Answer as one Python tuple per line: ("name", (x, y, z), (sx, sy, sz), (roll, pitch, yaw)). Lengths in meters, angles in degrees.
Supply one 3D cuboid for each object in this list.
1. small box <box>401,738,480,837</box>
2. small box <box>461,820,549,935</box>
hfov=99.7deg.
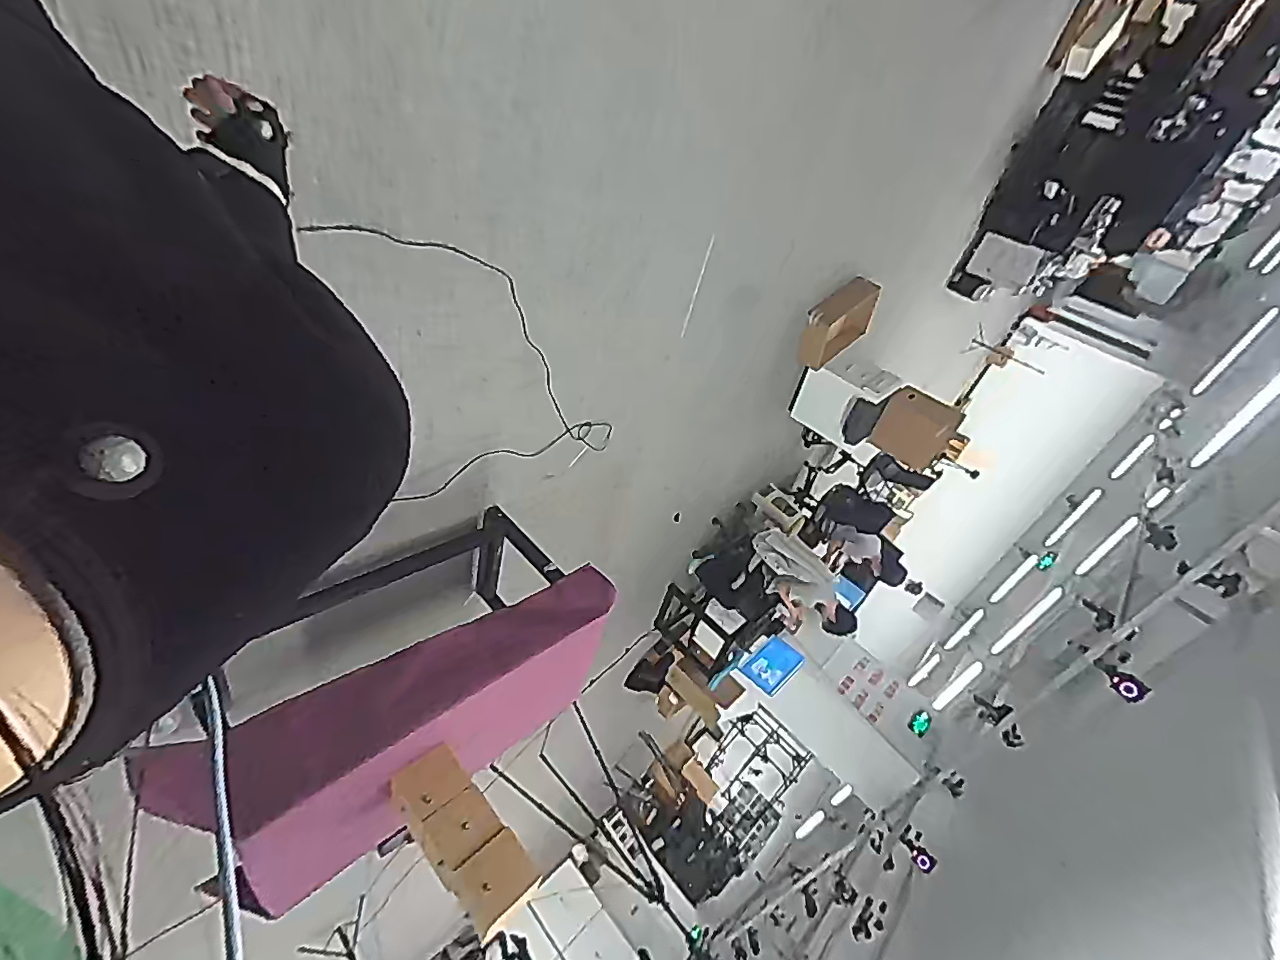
("small box", (-0.629, 0.955, 1.690), (0.179, 0.176, 0.168), (-22, 142, -43))
("small box", (-0.391, 1.128, 1.543), (0.179, 0.176, 0.168), (-22, 142, -43))
